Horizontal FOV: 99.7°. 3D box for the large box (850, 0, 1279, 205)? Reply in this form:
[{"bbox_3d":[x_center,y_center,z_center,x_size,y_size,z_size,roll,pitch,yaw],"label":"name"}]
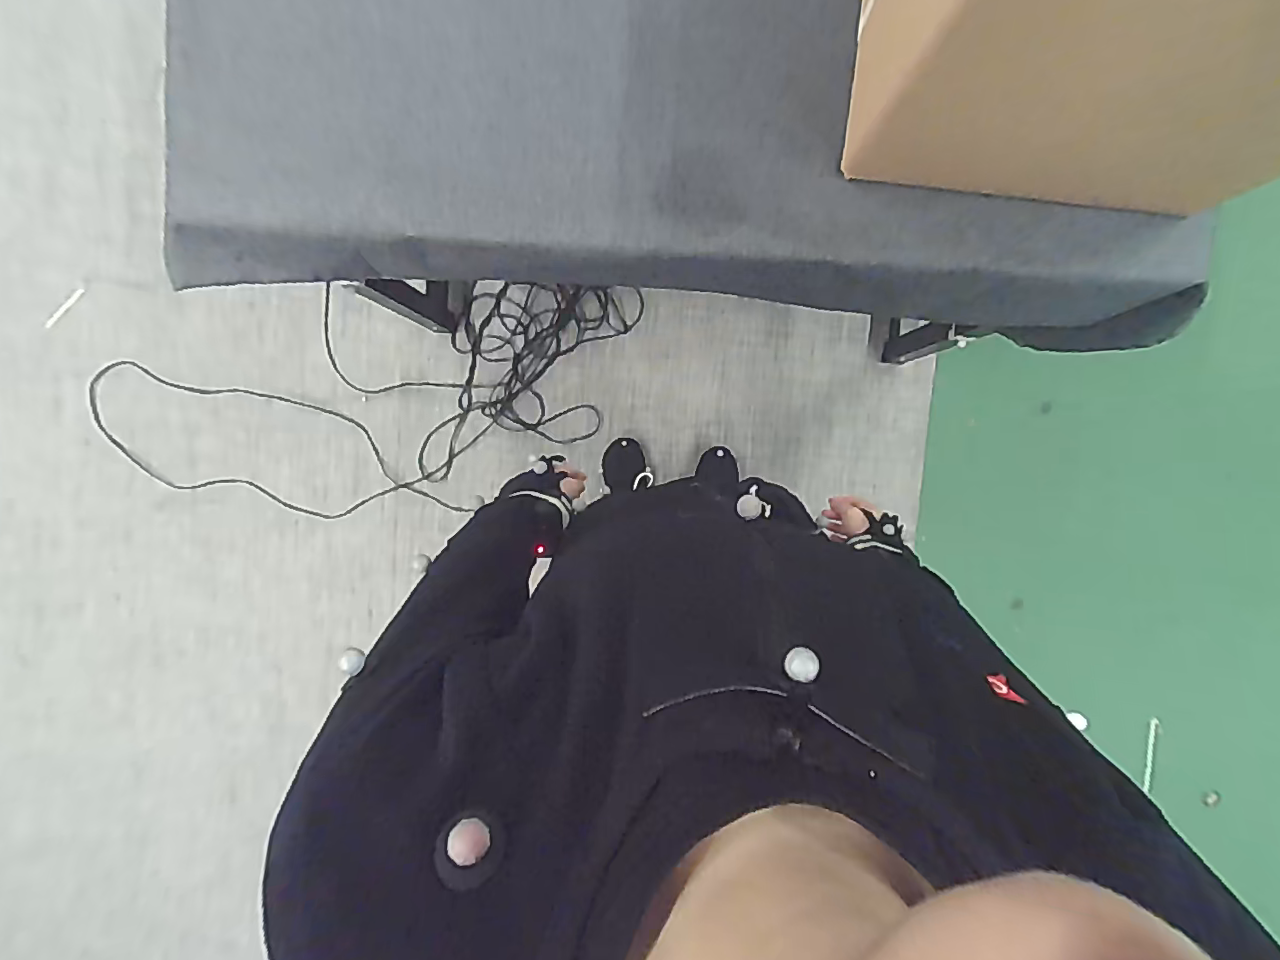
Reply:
[{"bbox_3d":[0.440,-0.468,0.454,0.408,0.320,0.320,6,94,0],"label":"large box"}]
